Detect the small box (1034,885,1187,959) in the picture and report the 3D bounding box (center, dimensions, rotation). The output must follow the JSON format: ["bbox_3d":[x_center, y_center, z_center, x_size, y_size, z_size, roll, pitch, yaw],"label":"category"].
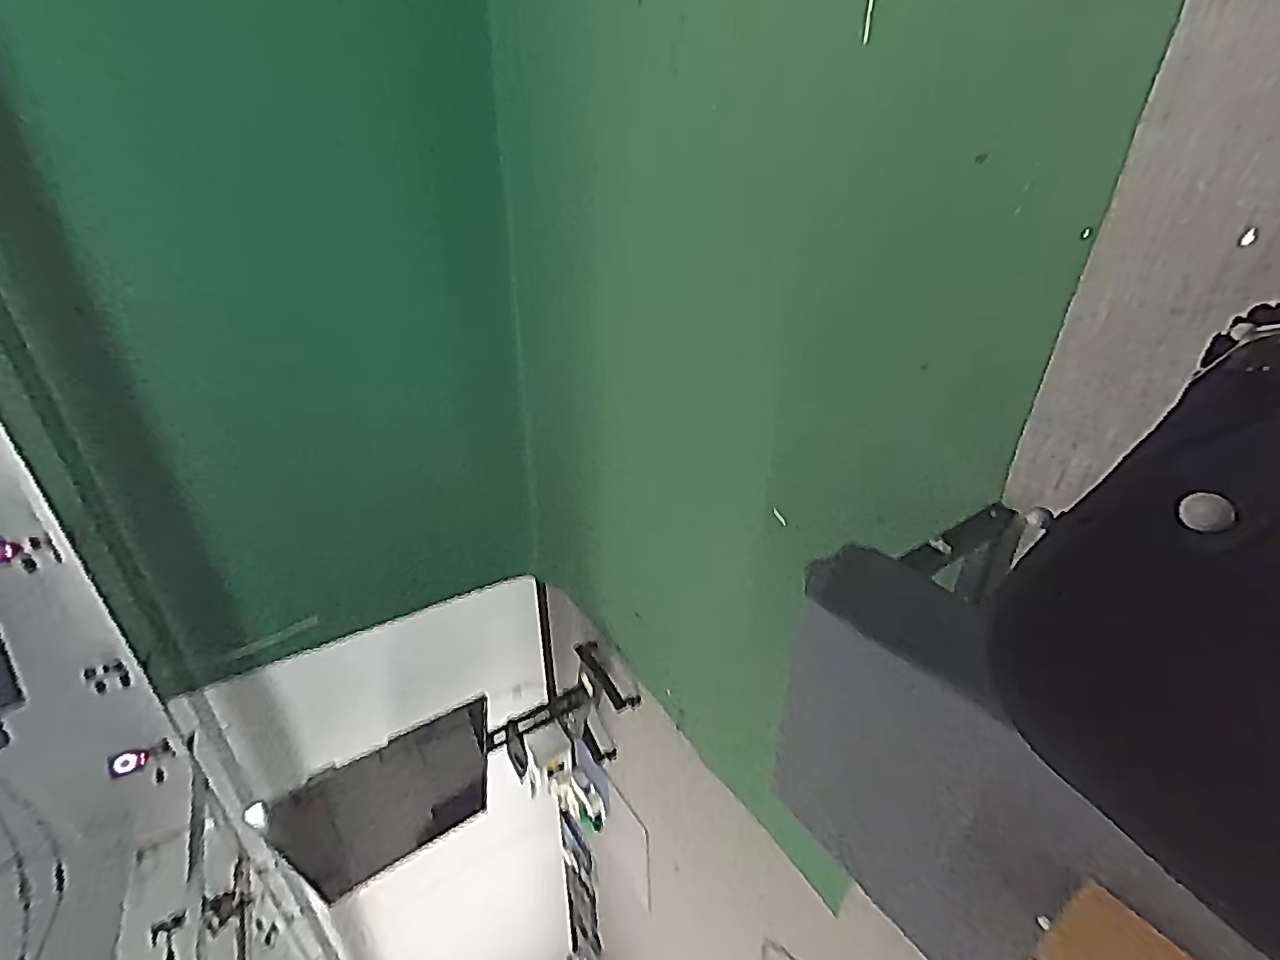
[{"bbox_3d":[0.596,0.664,0.666,0.179,0.176,0.168,35,133,48],"label":"small box"}]
